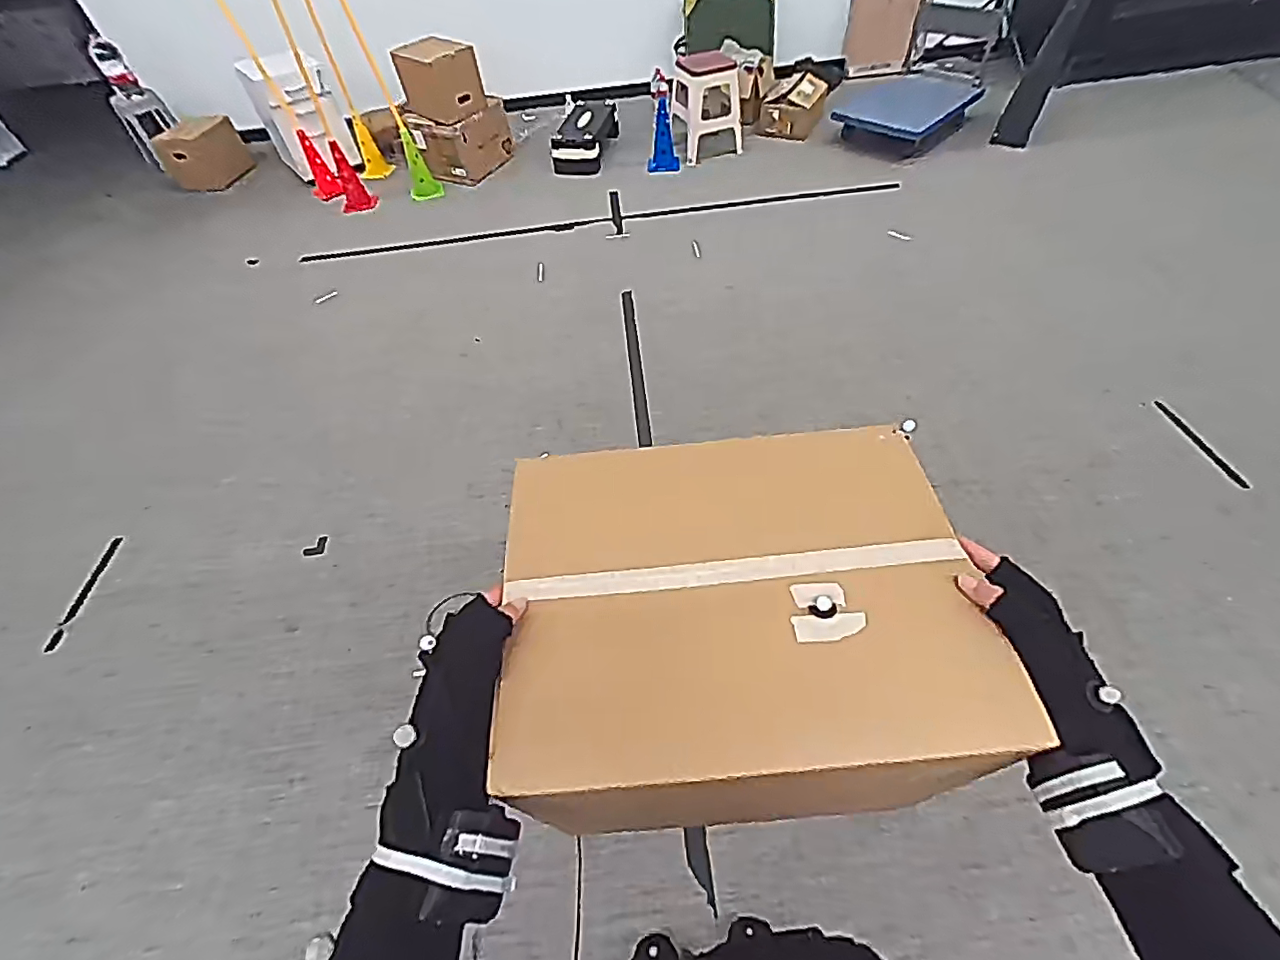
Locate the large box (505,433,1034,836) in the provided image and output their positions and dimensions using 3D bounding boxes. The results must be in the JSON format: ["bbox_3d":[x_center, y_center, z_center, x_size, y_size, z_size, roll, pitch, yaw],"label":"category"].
[{"bbox_3d":[0.092,0.180,0.605,0.408,0.320,0.320,-5,52,0],"label":"large box"}]
